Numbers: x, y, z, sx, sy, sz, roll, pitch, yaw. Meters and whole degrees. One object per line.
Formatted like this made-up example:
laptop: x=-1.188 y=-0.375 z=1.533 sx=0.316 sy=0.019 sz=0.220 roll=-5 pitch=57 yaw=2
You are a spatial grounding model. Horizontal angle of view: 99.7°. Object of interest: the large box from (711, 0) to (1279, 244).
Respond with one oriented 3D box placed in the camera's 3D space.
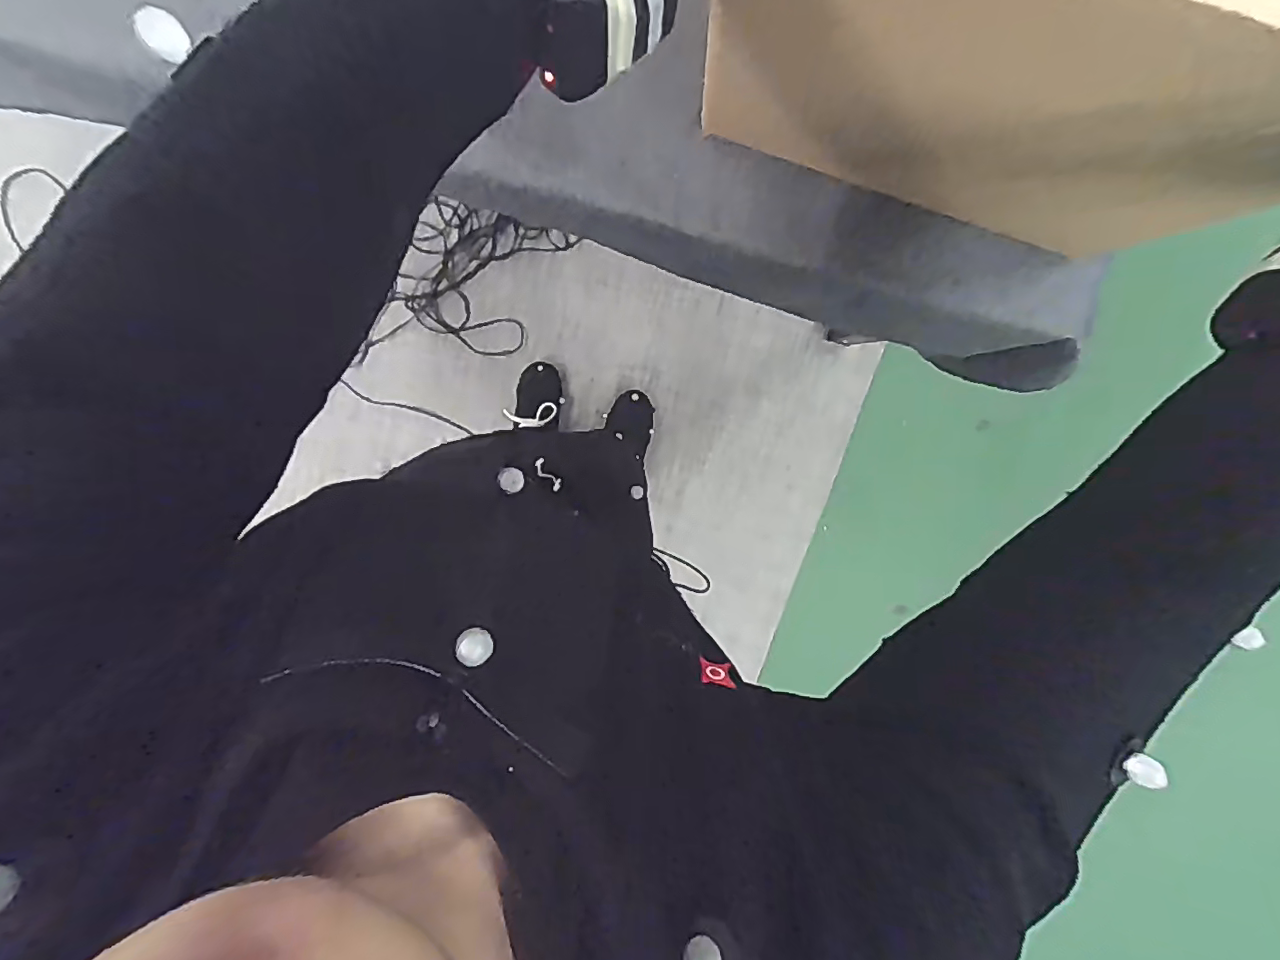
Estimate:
large box: x=0.291 y=-0.397 z=0.355 sx=0.408 sy=0.320 sz=0.320 roll=18 pitch=104 yaw=-1
